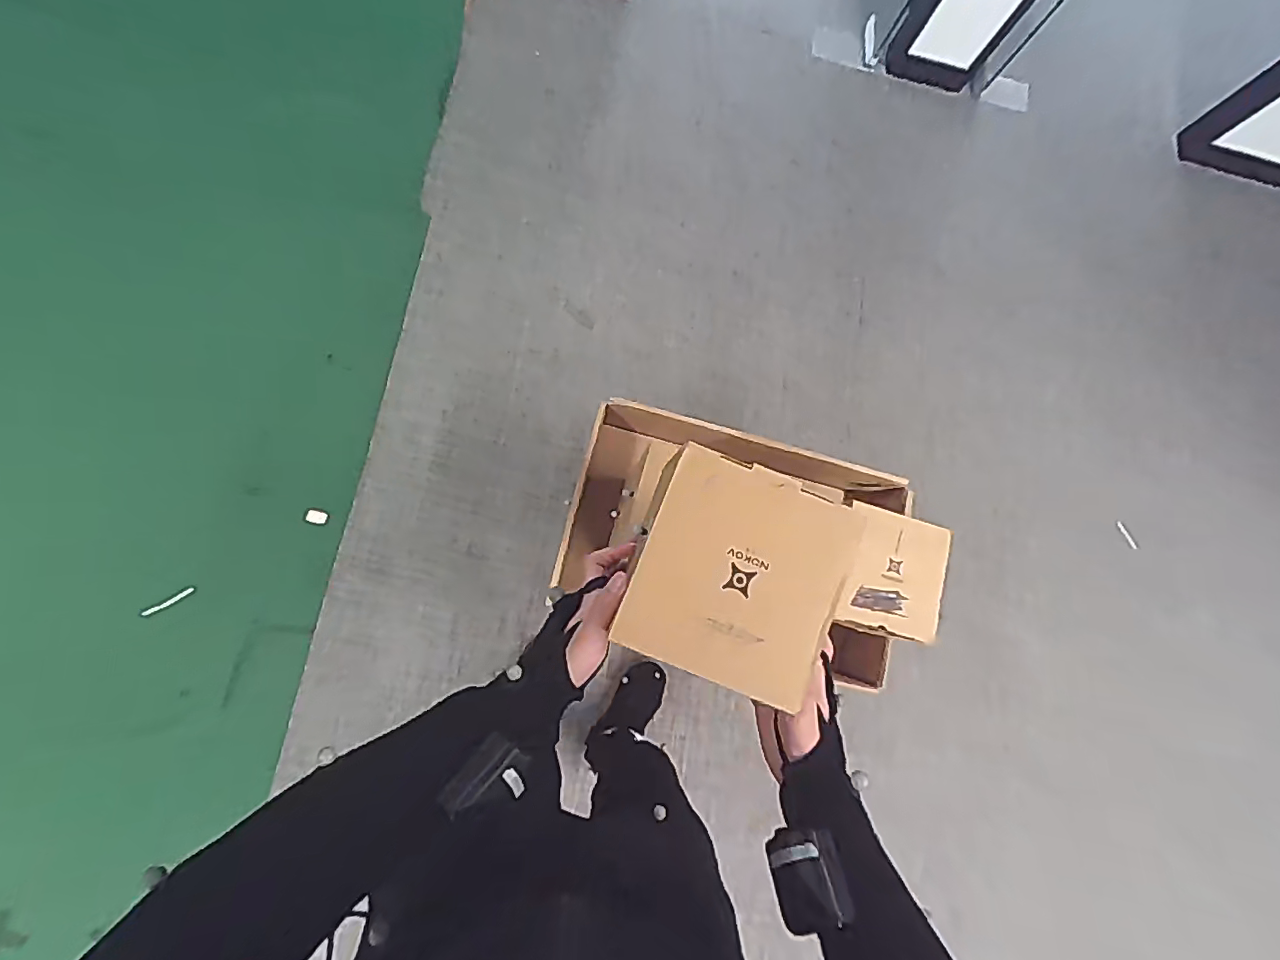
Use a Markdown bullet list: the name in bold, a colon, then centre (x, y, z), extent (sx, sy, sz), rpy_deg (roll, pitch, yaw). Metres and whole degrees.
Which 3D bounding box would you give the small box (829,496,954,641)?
- **small box**: centre (0.356, 0.139, 0.857), extent (0.168, 0.176, 0.179), rpy_deg (16, 79, -5)

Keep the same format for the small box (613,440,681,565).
- **small box**: centre (0.061, 0.060, 0.829), extent (0.168, 0.176, 0.179), rpy_deg (17, 79, -4)

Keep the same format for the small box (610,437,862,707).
- **small box**: centre (0.075, 0.081, 0.518), extent (0.168, 0.176, 0.179), rpy_deg (22, 83, 0)
